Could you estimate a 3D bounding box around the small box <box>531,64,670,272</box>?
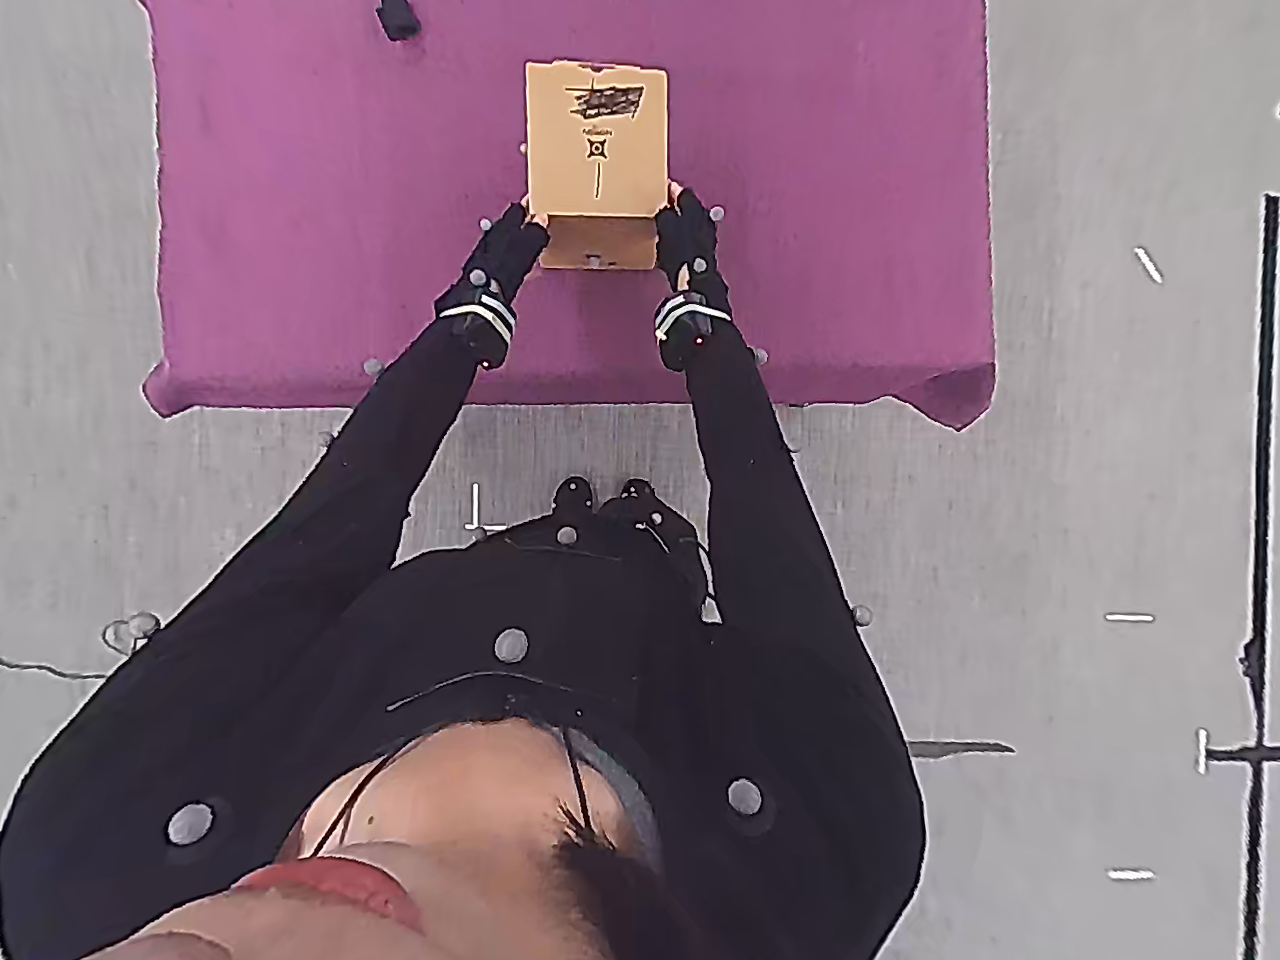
[{"bbox_3d":[-0.054,-0.395,0.712,0.168,0.176,0.179,-1,91,-5],"label":"small box"}]
